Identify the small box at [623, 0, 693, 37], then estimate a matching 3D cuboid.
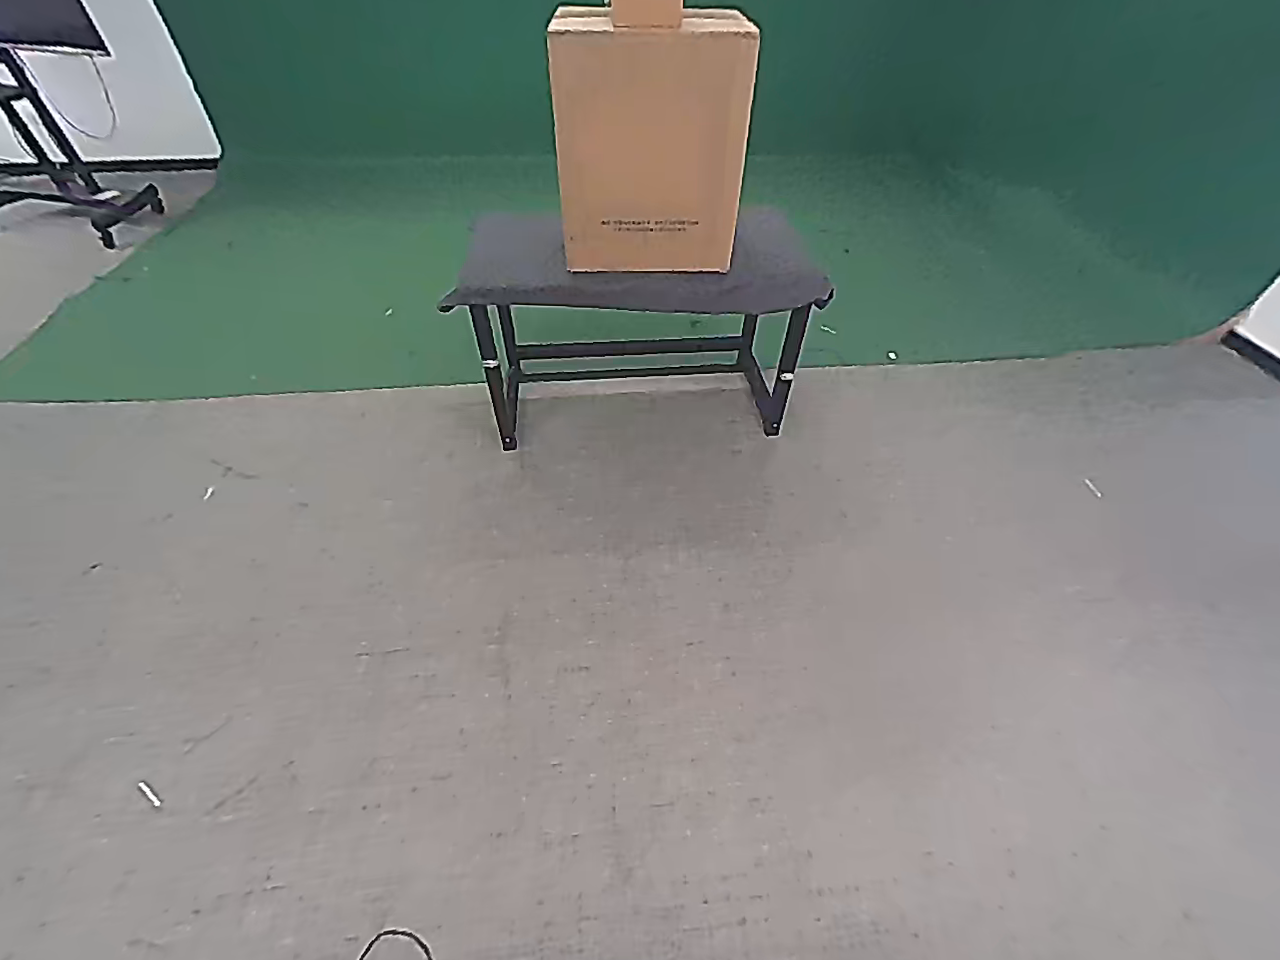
[{"bbox_3d":[0.044,-1.235,1.355,0.179,0.176,0.168,-2,48,-1],"label":"small box"}]
